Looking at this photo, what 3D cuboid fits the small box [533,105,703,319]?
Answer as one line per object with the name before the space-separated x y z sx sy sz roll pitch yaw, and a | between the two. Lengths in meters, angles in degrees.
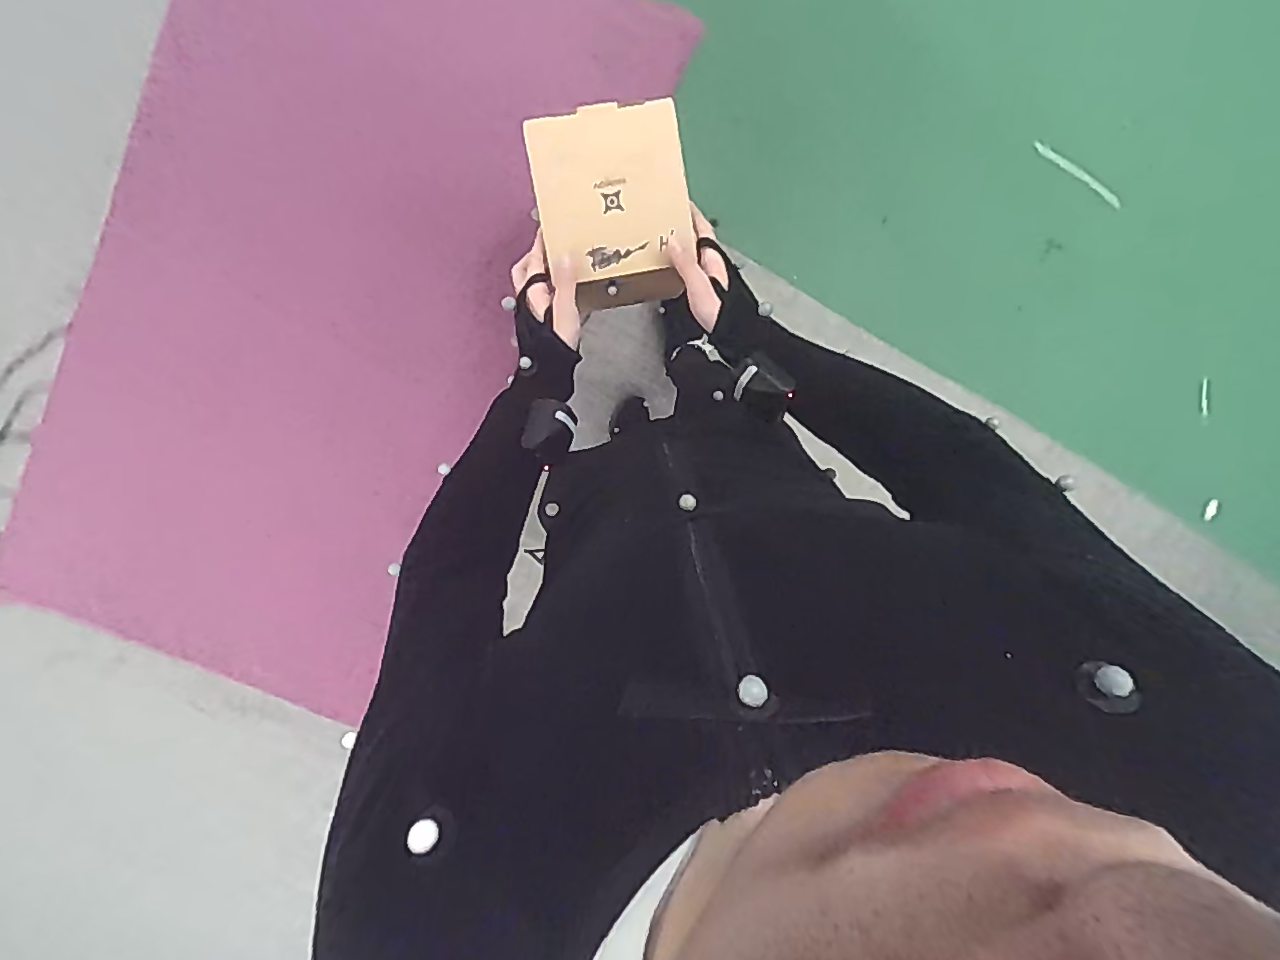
small box | -0.027 -0.309 0.657 0.168 0.176 0.179 -9 97 -2
